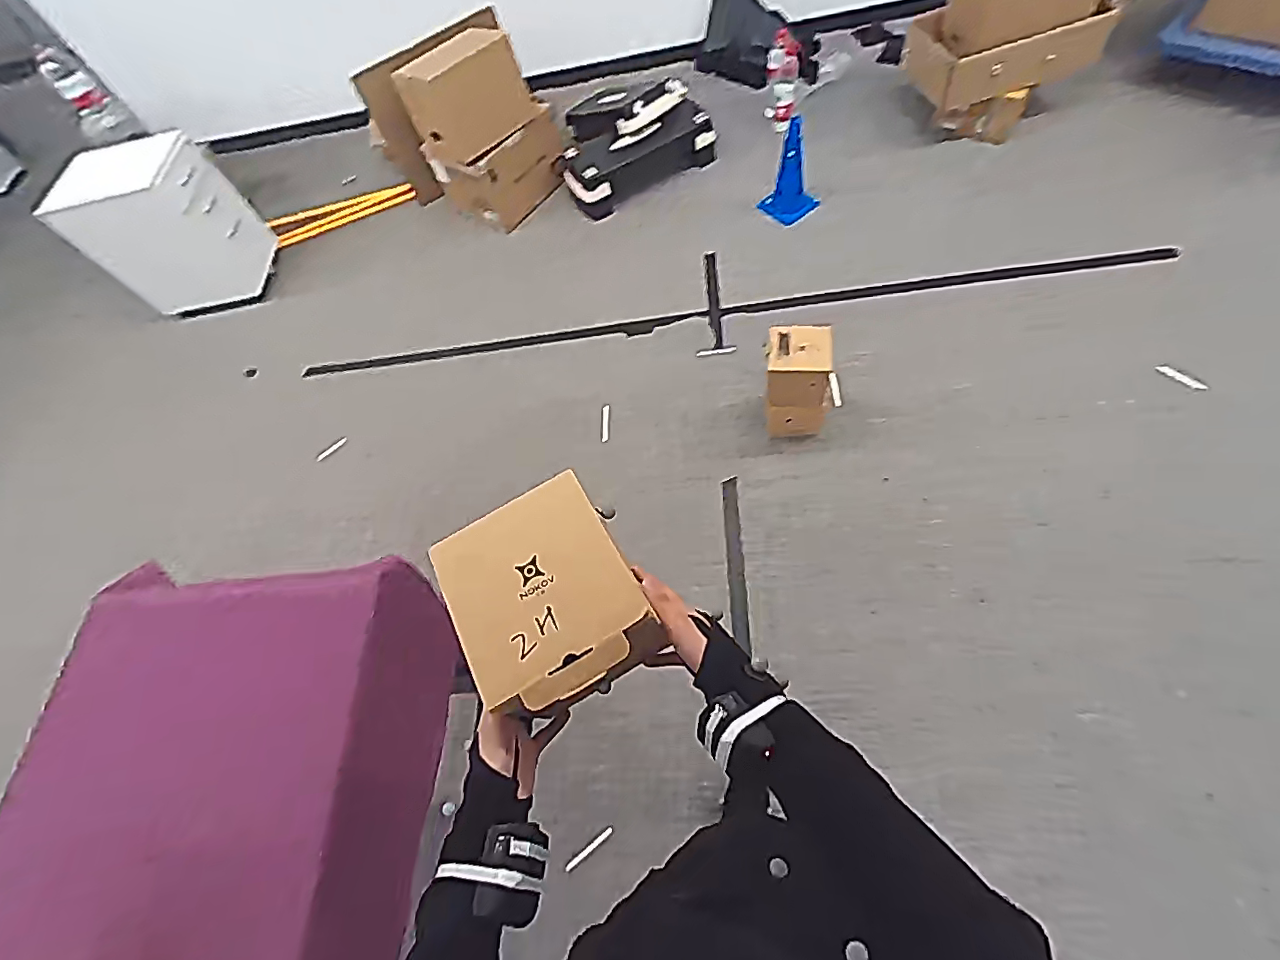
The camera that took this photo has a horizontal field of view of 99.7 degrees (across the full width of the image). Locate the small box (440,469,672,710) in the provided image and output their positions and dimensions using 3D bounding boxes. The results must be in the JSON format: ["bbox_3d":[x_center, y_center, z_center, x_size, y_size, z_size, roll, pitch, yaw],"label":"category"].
[{"bbox_3d":[-0.080,0.124,0.577,0.168,0.176,0.179,-29,63,-4],"label":"small box"}]

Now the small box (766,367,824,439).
[{"bbox_3d":[0.498,-0.244,1.757,0.168,0.176,0.179,-1,61,10],"label":"small box"}]
